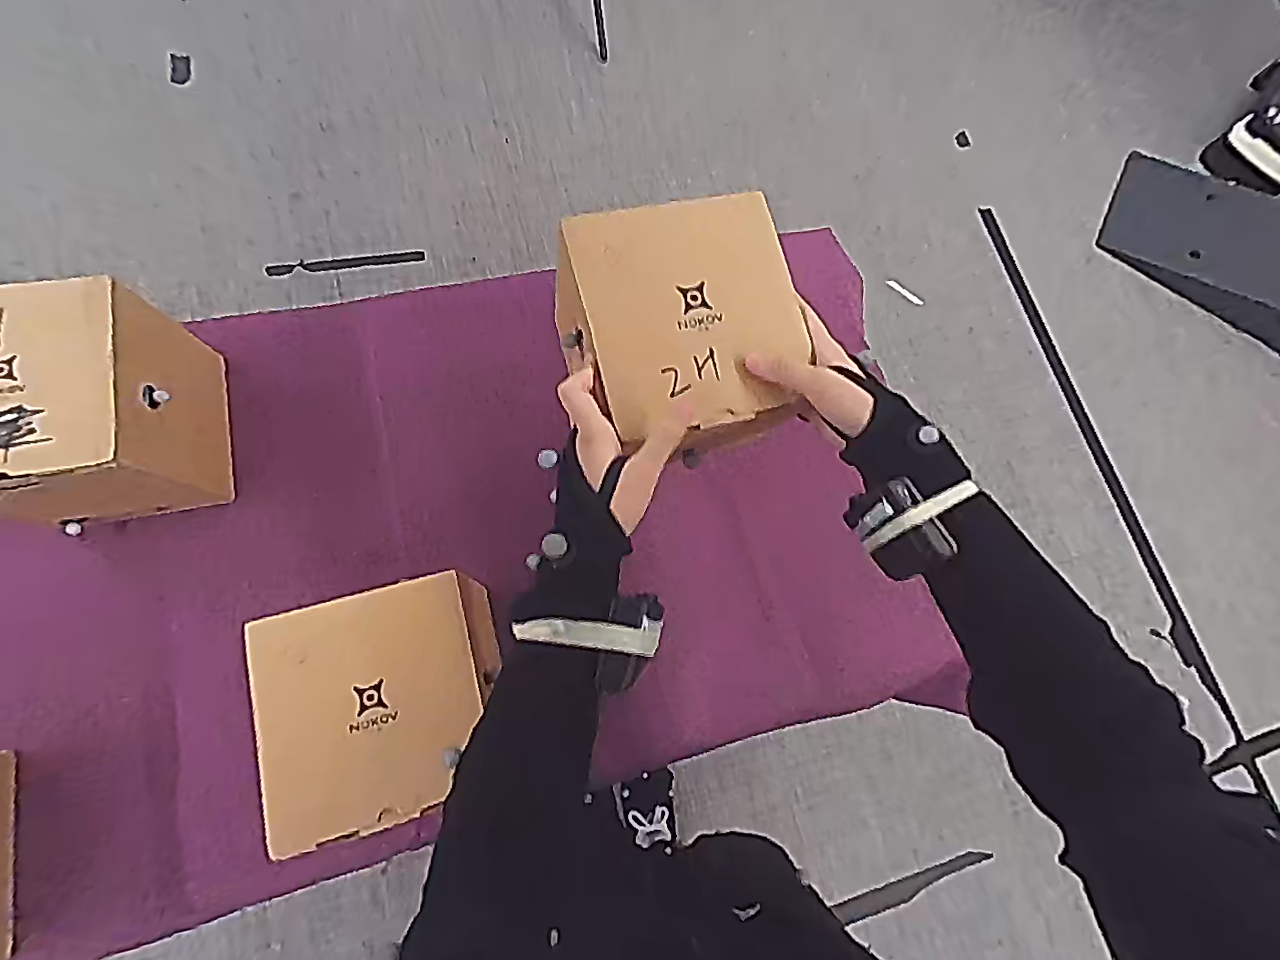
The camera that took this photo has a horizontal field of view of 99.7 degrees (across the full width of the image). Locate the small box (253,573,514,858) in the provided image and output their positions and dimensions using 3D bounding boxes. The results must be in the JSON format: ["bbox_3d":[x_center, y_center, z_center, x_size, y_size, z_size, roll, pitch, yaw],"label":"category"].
[{"bbox_3d":[-0.220,0.199,0.504,0.168,0.176,0.179,-14,77,-12],"label":"small box"}]

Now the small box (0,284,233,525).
[{"bbox_3d":[-0.530,-0.058,0.522,0.168,0.176,0.179,-10,78,-11],"label":"small box"}]

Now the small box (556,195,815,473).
[{"bbox_3d":[0.023,-0.117,0.487,0.168,0.176,0.179,-14,84,-12],"label":"small box"}]
